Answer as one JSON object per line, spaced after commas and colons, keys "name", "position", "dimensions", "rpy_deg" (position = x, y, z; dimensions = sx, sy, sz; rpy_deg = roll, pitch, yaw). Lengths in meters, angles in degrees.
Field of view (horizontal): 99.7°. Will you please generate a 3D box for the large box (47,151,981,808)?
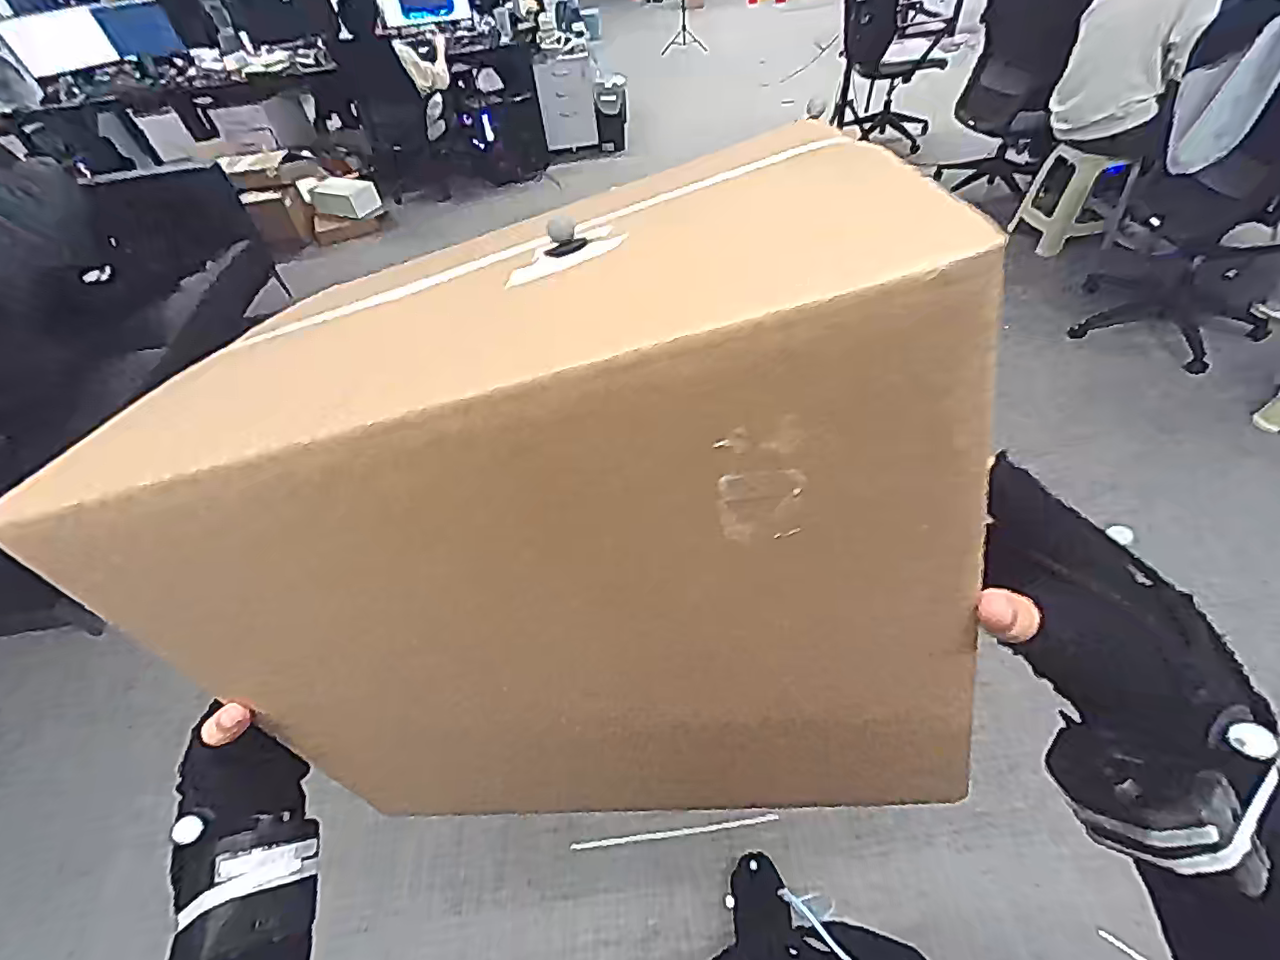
{"name": "large box", "position": [-0.032, 0.009, 0.401], "dimensions": [0.408, 0.320, 0.320], "rpy_deg": [-11, 36, 15]}
